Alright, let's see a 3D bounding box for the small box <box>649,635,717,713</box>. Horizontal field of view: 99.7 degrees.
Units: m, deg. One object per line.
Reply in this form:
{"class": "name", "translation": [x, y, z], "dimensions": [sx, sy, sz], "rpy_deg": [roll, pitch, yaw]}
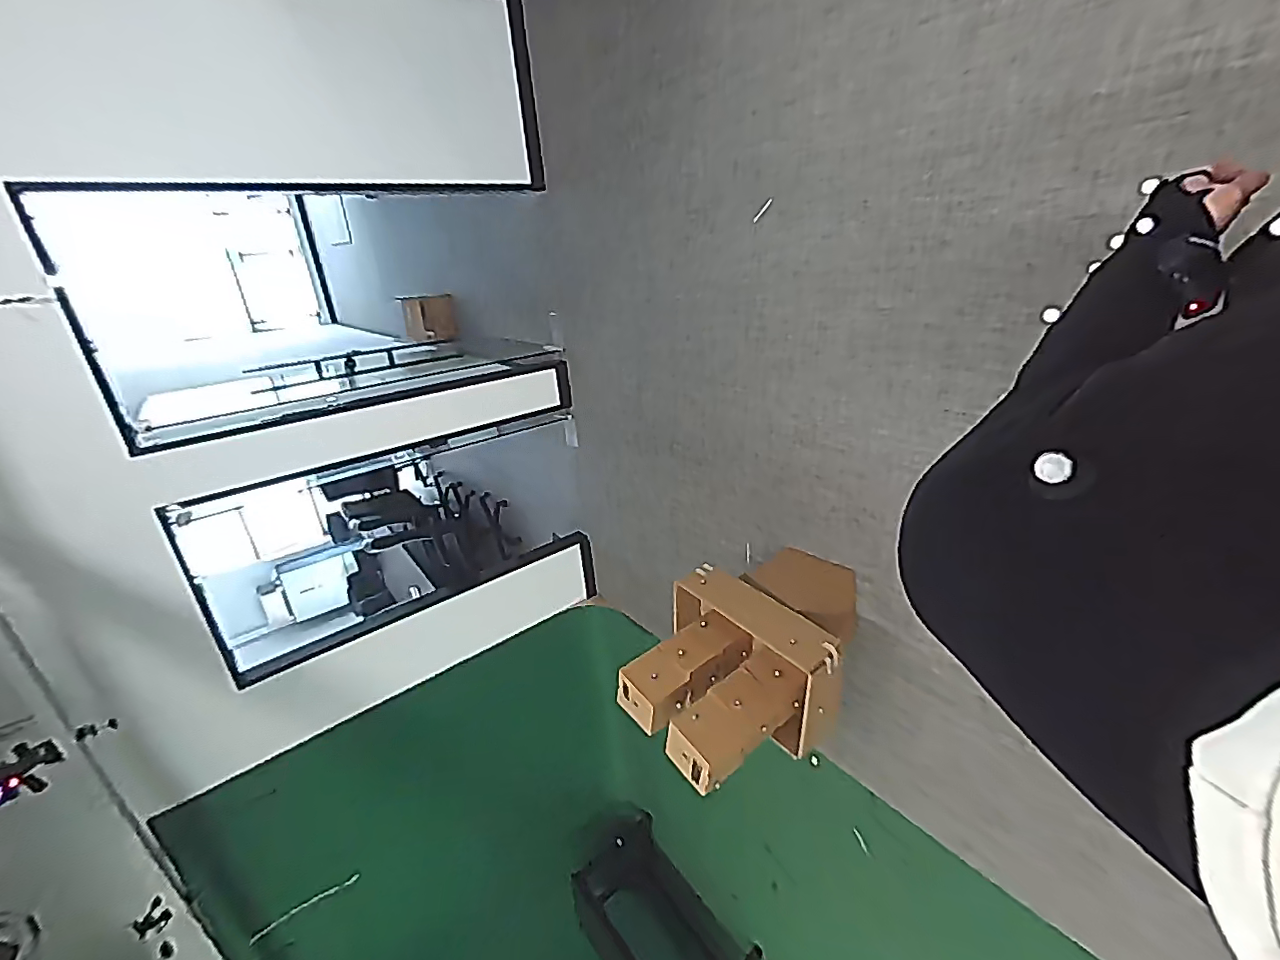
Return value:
{"class": "small box", "translation": [0.150, 0.674, 1.910], "dimensions": [0.179, 0.176, 0.168], "rpy_deg": [23, 124, 44]}

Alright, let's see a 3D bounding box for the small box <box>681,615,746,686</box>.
{"class": "small box", "translation": [0.271, 0.626, 2.006], "dimensions": [0.179, 0.176, 0.168], "rpy_deg": [24, 126, 45]}

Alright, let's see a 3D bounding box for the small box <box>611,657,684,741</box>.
{"class": "small box", "translation": [0.023, 0.724, 1.819], "dimensions": [0.179, 0.176, 0.168], "rpy_deg": [32, 131, 38]}

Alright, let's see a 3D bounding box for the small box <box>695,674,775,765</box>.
{"class": "small box", "translation": [0.306, 0.761, 1.737], "dimensions": [0.179, 0.176, 0.168], "rpy_deg": [37, 133, 39]}
